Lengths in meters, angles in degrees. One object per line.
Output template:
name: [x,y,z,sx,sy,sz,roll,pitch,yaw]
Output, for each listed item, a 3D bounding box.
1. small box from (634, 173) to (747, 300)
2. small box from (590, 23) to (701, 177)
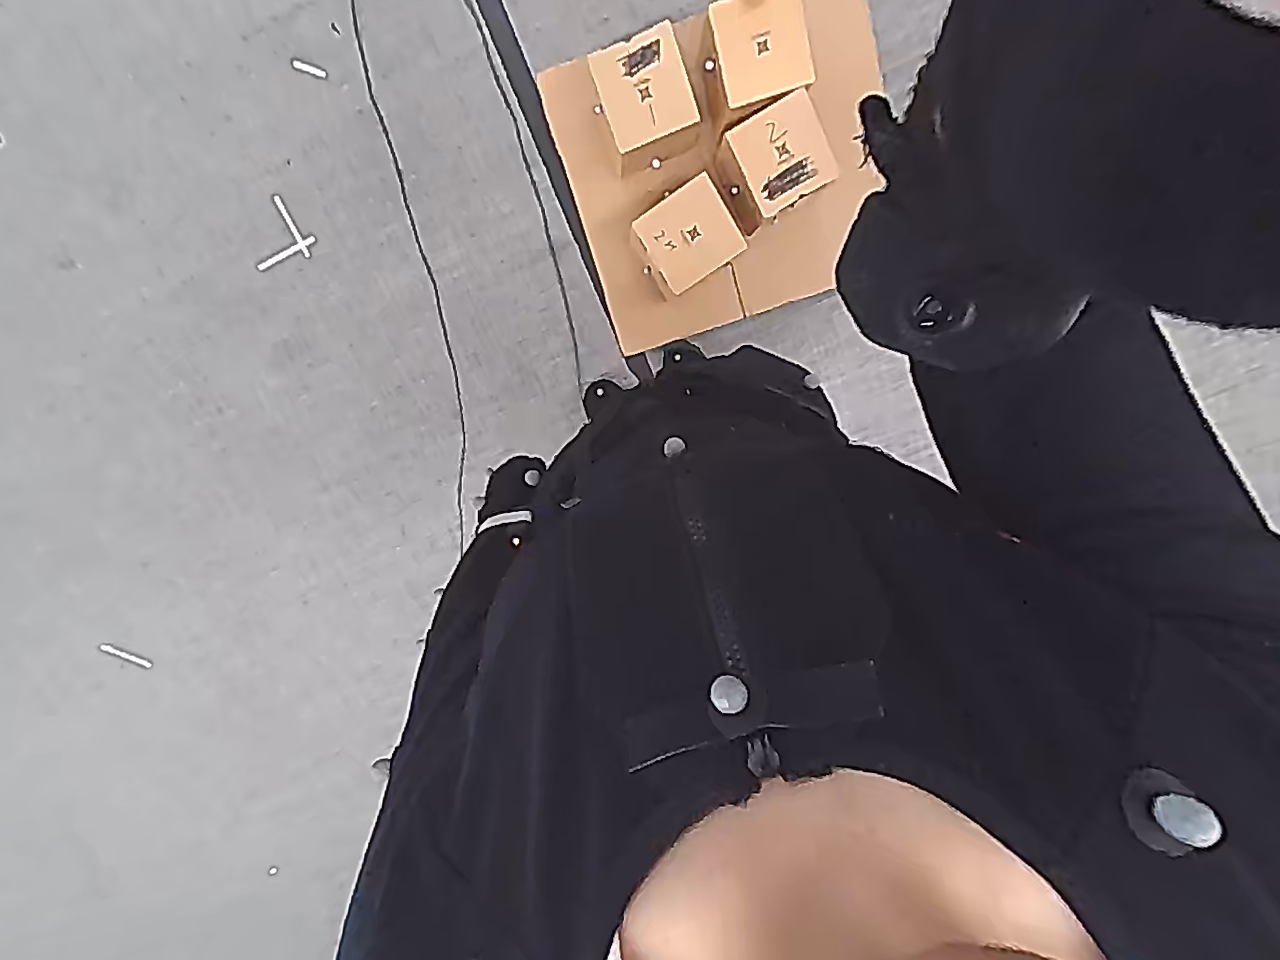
small box: [0.099,-0.504,1.146,0.179,0.176,0.168,-32,101,7]
small box: [0.009,-0.748,1.086,0.168,0.176,0.179,-20,104,4]
